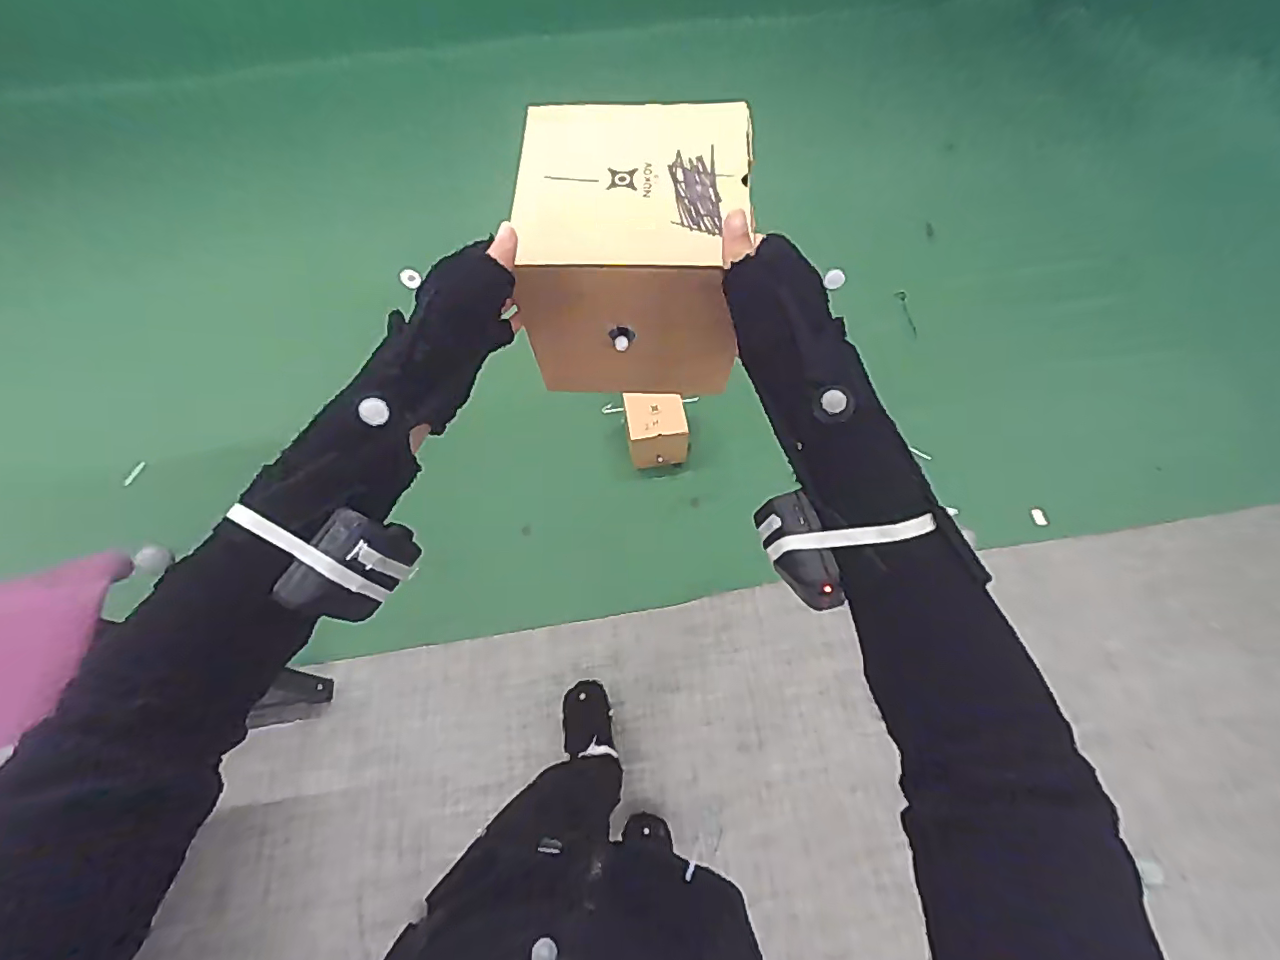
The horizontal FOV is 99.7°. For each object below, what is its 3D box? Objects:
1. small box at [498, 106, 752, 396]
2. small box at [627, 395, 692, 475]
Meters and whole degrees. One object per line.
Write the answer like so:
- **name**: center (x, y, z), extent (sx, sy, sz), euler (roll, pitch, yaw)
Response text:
- **small box**: center (-0.004, -0.188, 0.476), extent (0.179, 0.176, 0.168), euler (4, 66, 3)
- **small box**: center (0.055, -0.136, 1.608), extent (0.168, 0.176, 0.179), euler (-9, 61, -2)
